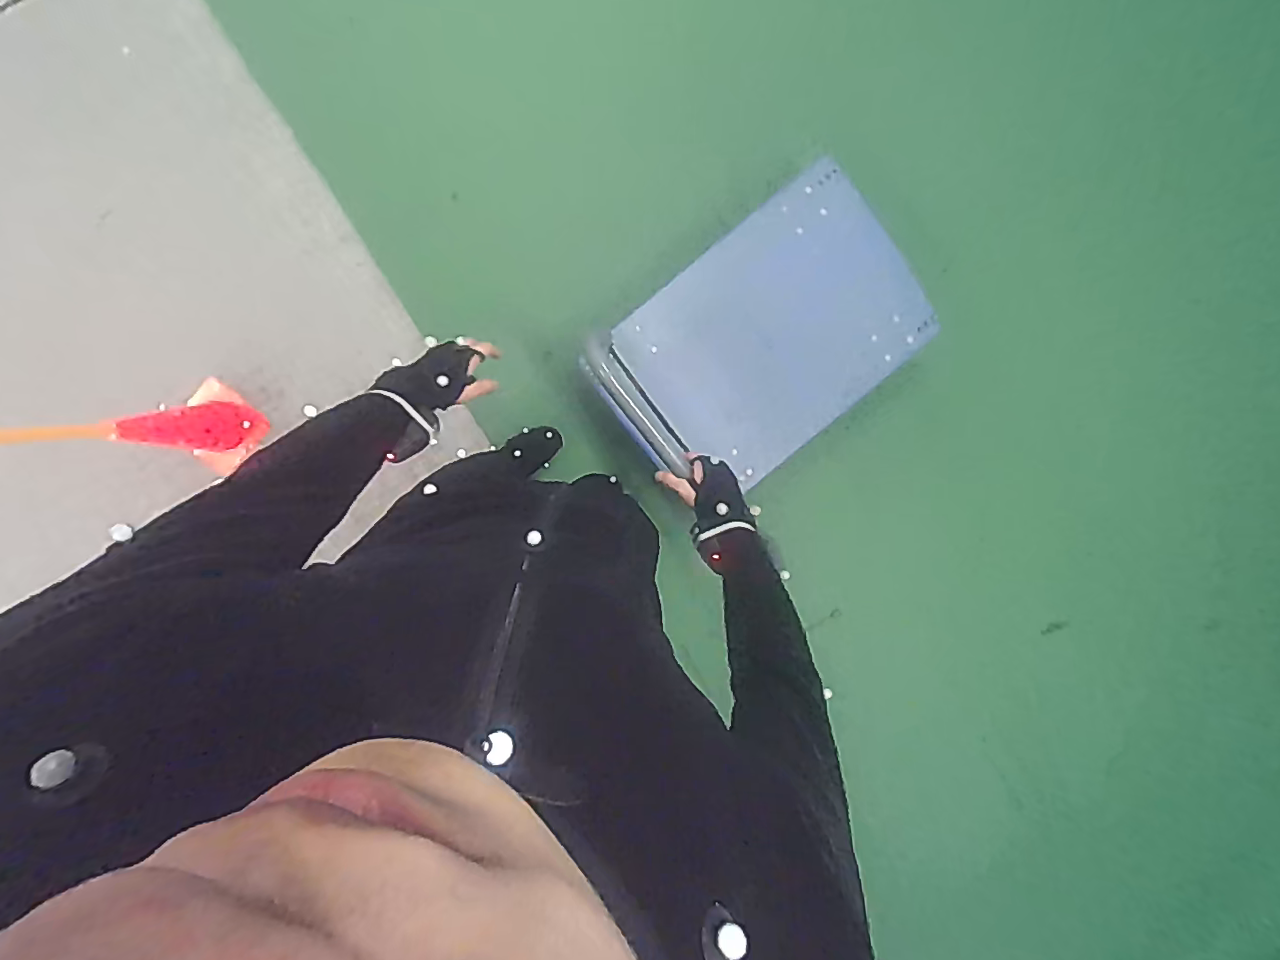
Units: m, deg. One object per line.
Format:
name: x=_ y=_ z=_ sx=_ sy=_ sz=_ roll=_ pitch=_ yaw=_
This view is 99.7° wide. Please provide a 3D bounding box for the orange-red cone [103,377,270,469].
orange-red cone: x=-1.139 y=-0.137 z=1.320 sx=0.199 sy=0.360 sz=0.198 roll=44 pitch=90 yaw=-8
